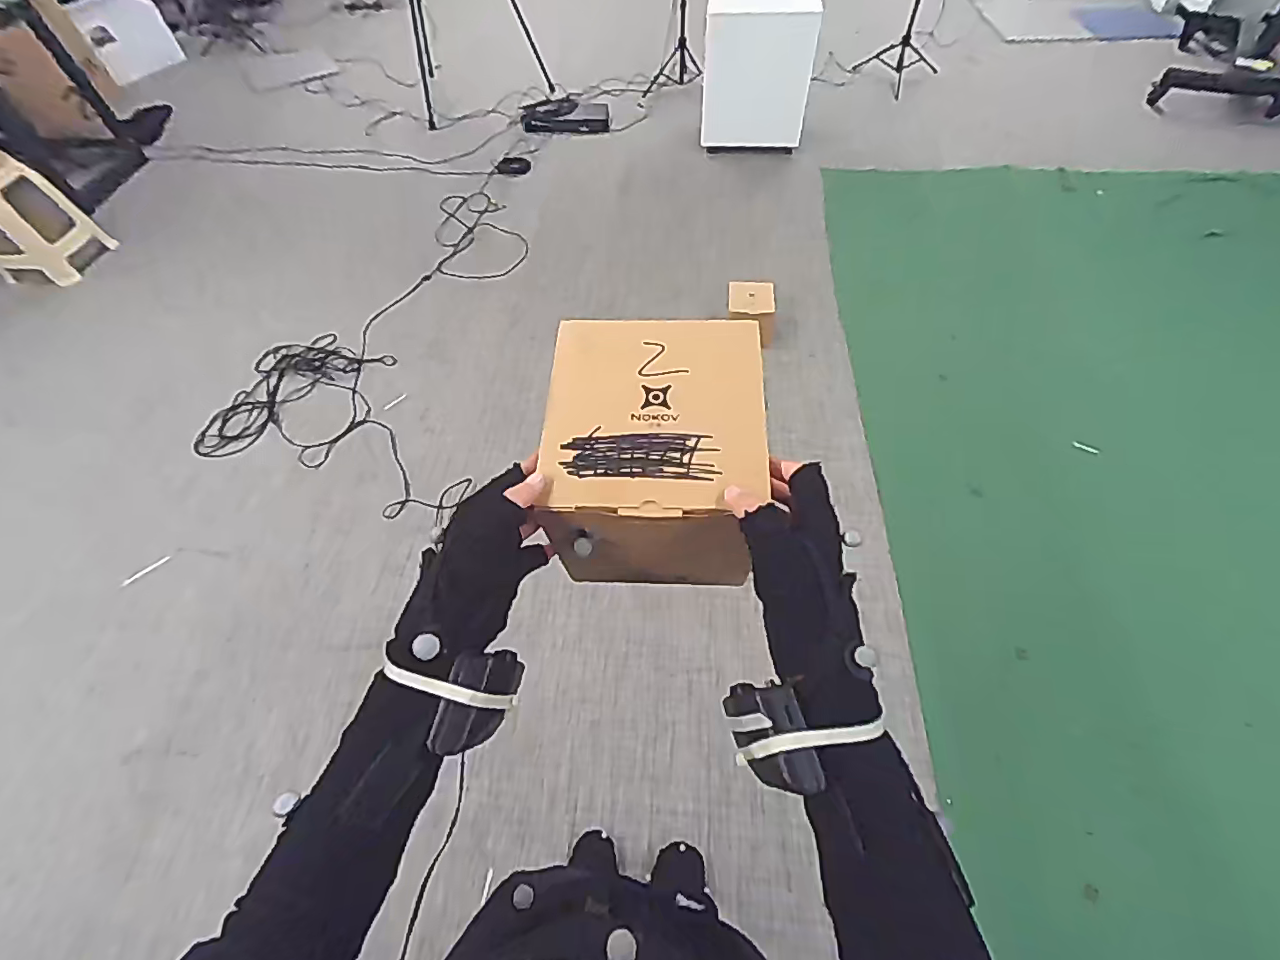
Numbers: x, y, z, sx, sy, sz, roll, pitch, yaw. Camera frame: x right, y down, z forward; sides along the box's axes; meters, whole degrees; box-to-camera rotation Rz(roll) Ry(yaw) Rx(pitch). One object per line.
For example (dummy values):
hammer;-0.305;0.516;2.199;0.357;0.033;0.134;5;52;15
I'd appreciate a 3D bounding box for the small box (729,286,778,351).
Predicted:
small box;0.428;-0.616;2.061;0.168;0.176;0.179;3;57;6
